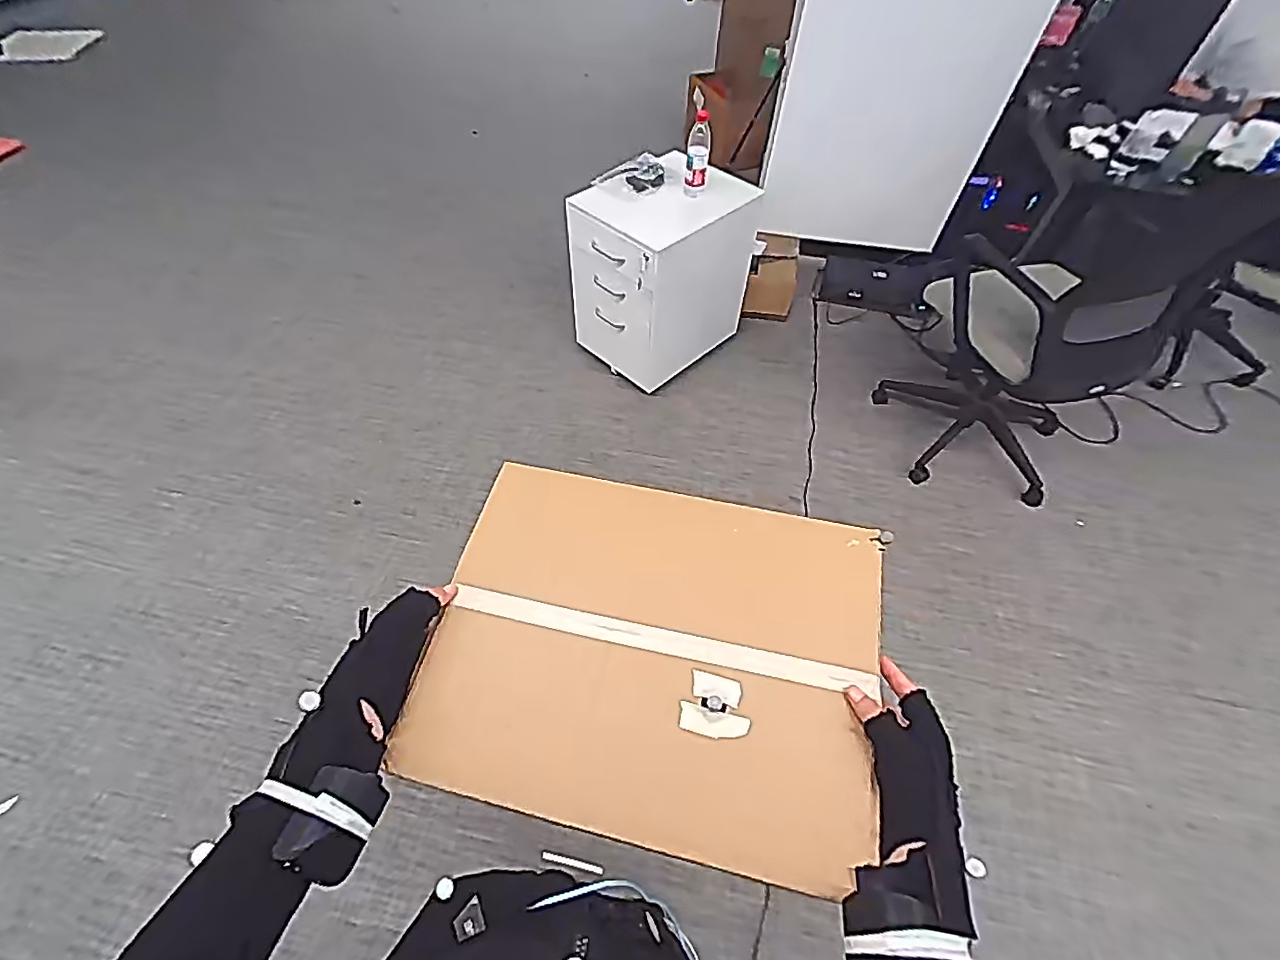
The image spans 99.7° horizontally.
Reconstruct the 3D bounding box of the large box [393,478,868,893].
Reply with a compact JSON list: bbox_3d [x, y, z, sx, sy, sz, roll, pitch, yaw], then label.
[{"bbox_3d":[0.013,0.234,0.640,0.408,0.320,0.320,11,60,8],"label":"large box"}]
